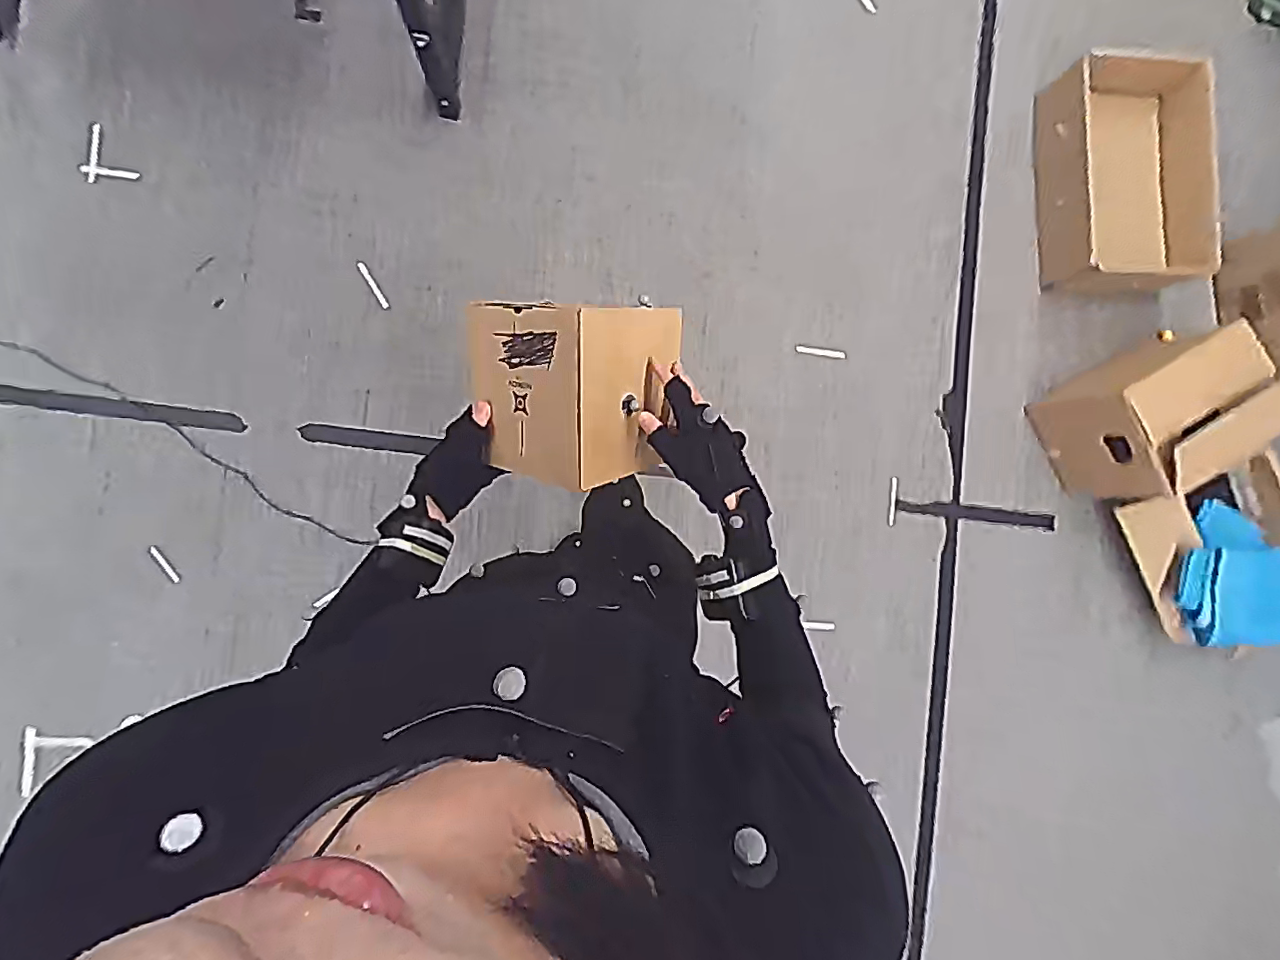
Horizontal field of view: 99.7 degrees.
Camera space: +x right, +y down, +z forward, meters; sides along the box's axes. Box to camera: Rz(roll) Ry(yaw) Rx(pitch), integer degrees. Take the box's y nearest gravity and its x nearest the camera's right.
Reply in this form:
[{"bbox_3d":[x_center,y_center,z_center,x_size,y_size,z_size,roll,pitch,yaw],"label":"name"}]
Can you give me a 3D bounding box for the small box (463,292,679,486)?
[{"bbox_3d":[-0.069,-0.111,0.596,0.168,0.176,0.179,15,113,35],"label":"small box"}]
